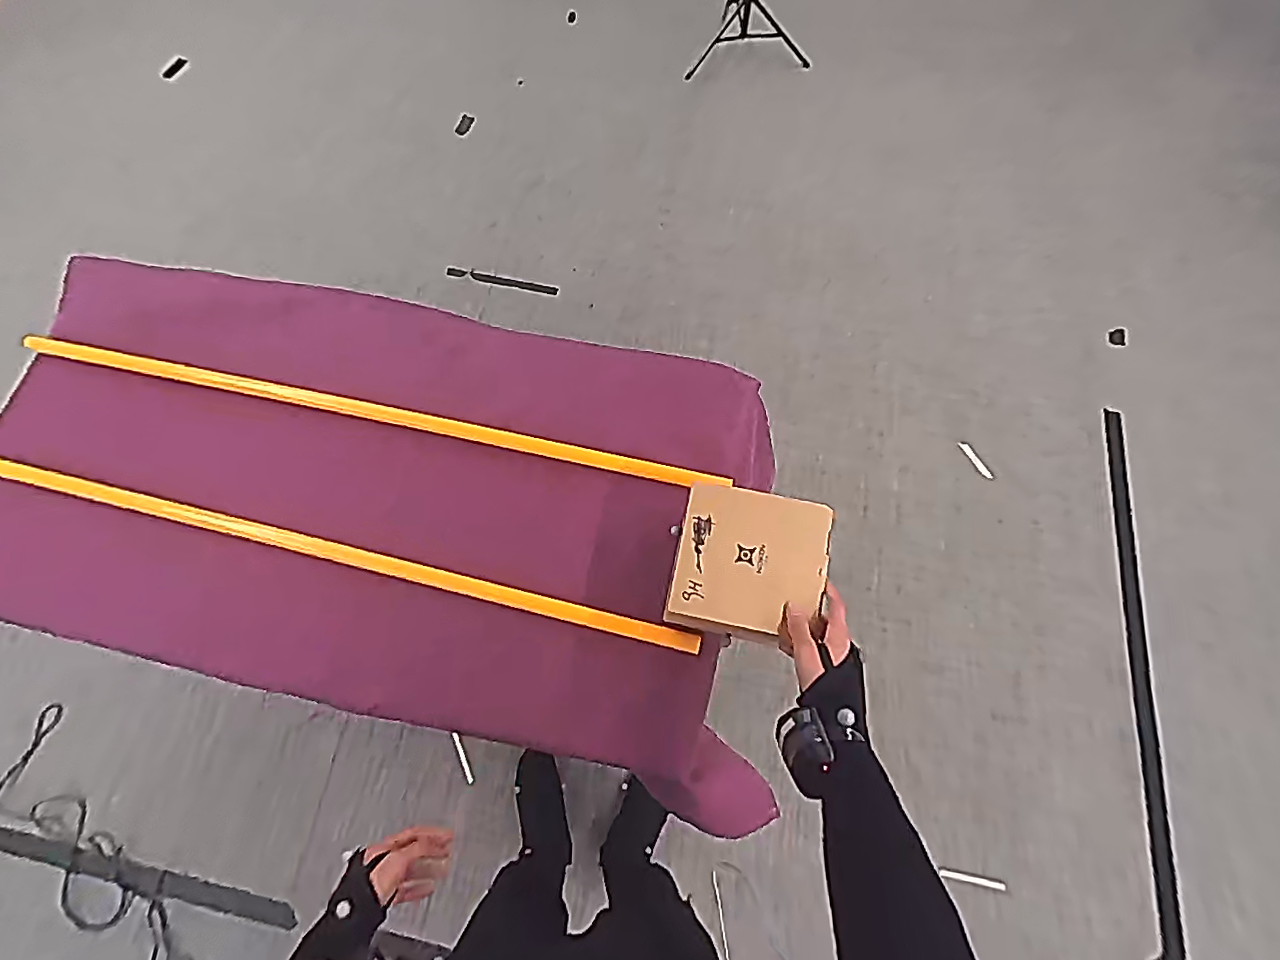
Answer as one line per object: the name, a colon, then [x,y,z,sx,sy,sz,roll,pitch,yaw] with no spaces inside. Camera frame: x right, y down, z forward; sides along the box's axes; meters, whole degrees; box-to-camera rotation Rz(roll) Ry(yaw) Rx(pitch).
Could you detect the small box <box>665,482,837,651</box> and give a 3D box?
small box: [0.135,0.120,0.709,0.179,0.176,0.168,12,72,5]
